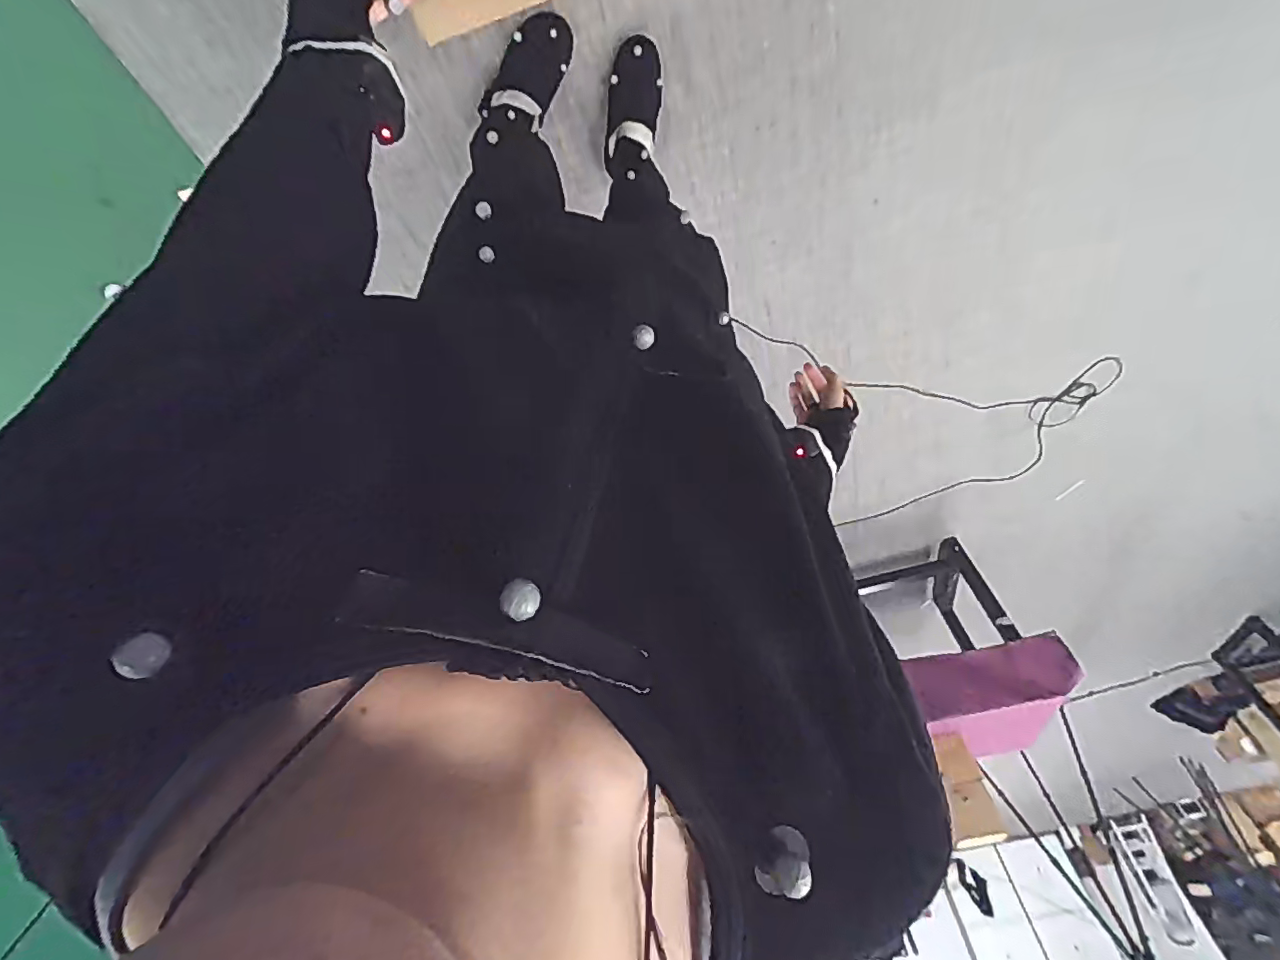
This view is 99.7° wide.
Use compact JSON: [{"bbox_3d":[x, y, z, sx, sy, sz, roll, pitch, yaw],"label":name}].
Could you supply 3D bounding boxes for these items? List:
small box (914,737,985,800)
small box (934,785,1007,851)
[{"bbox_3d":[1.187,1.111,2.083,0.179,0.176,0.168,-17,135,10],"label":"small box"},{"bbox_3d":[1.197,1.233,1.972,0.168,0.176,0.179,-17,135,10],"label":"small box"}]
